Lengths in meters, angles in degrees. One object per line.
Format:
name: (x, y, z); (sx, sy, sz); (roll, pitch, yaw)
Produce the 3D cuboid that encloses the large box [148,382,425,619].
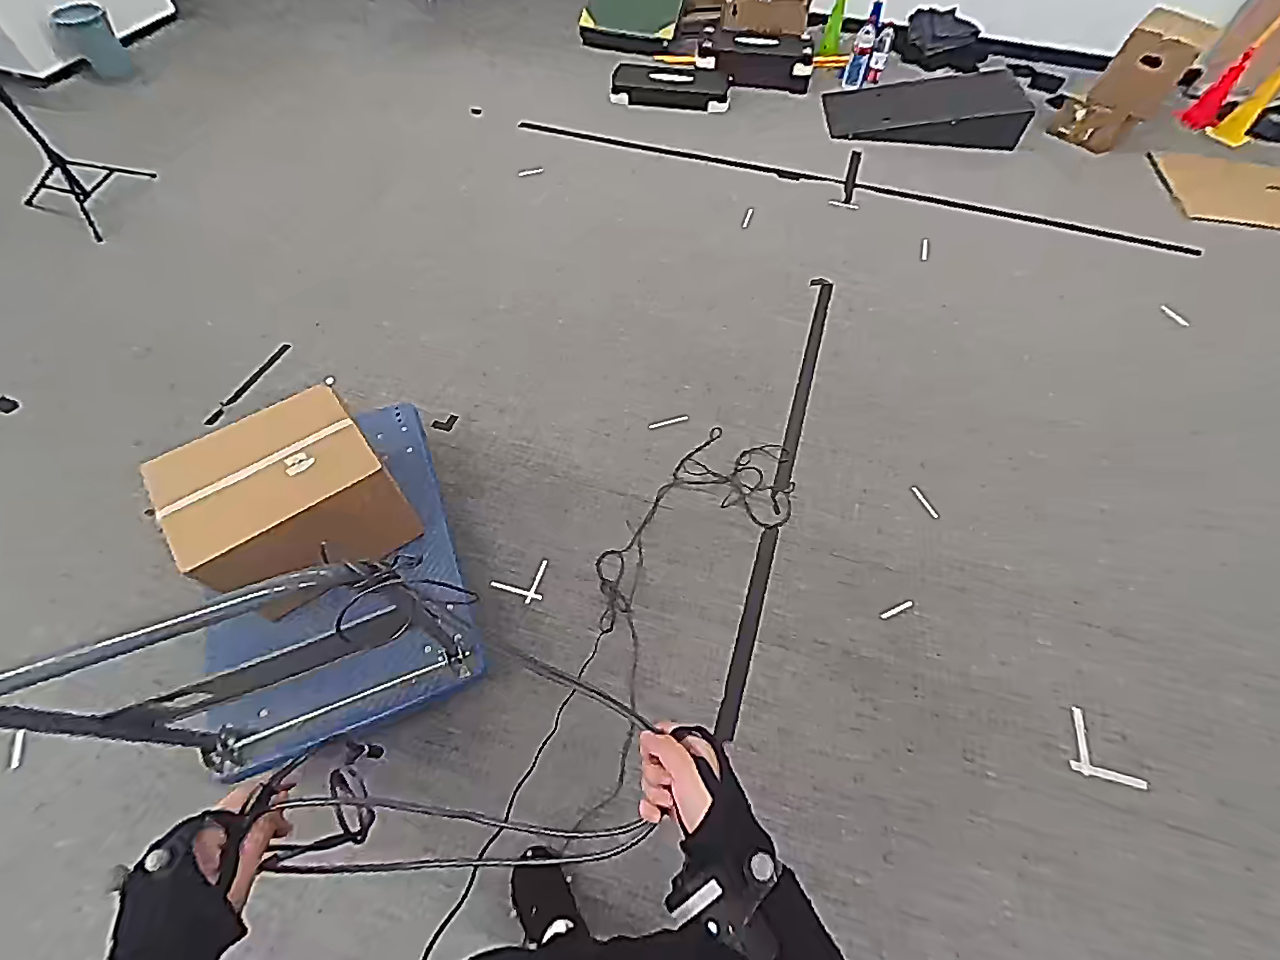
large box: (-0.797, 0.051, 1.272); (0.408, 0.320, 0.320); (-33, 66, -21)
